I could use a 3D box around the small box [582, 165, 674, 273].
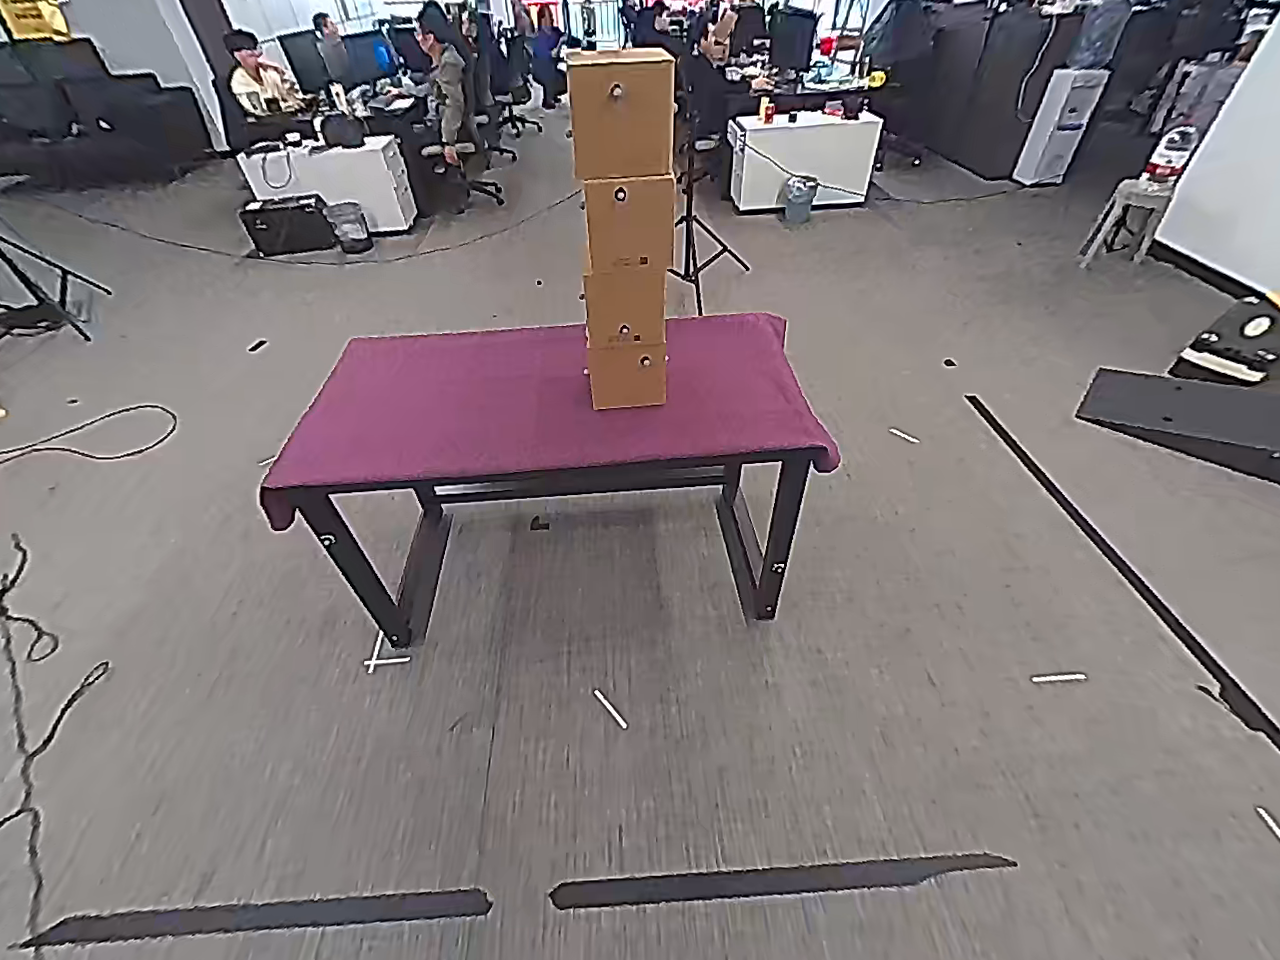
[{"bbox_3d":[-0.026,-0.527,1.072,0.168,0.176,0.179,-5,43,-2],"label":"small box"}]

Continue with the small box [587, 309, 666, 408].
[{"bbox_3d":[-0.033,-0.289,1.297,0.179,0.176,0.168,-6,43,-2],"label":"small box"}]

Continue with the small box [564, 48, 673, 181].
[{"bbox_3d":[-0.039,-0.653,0.968,0.179,0.176,0.168,-6,44,-3],"label":"small box"}]
